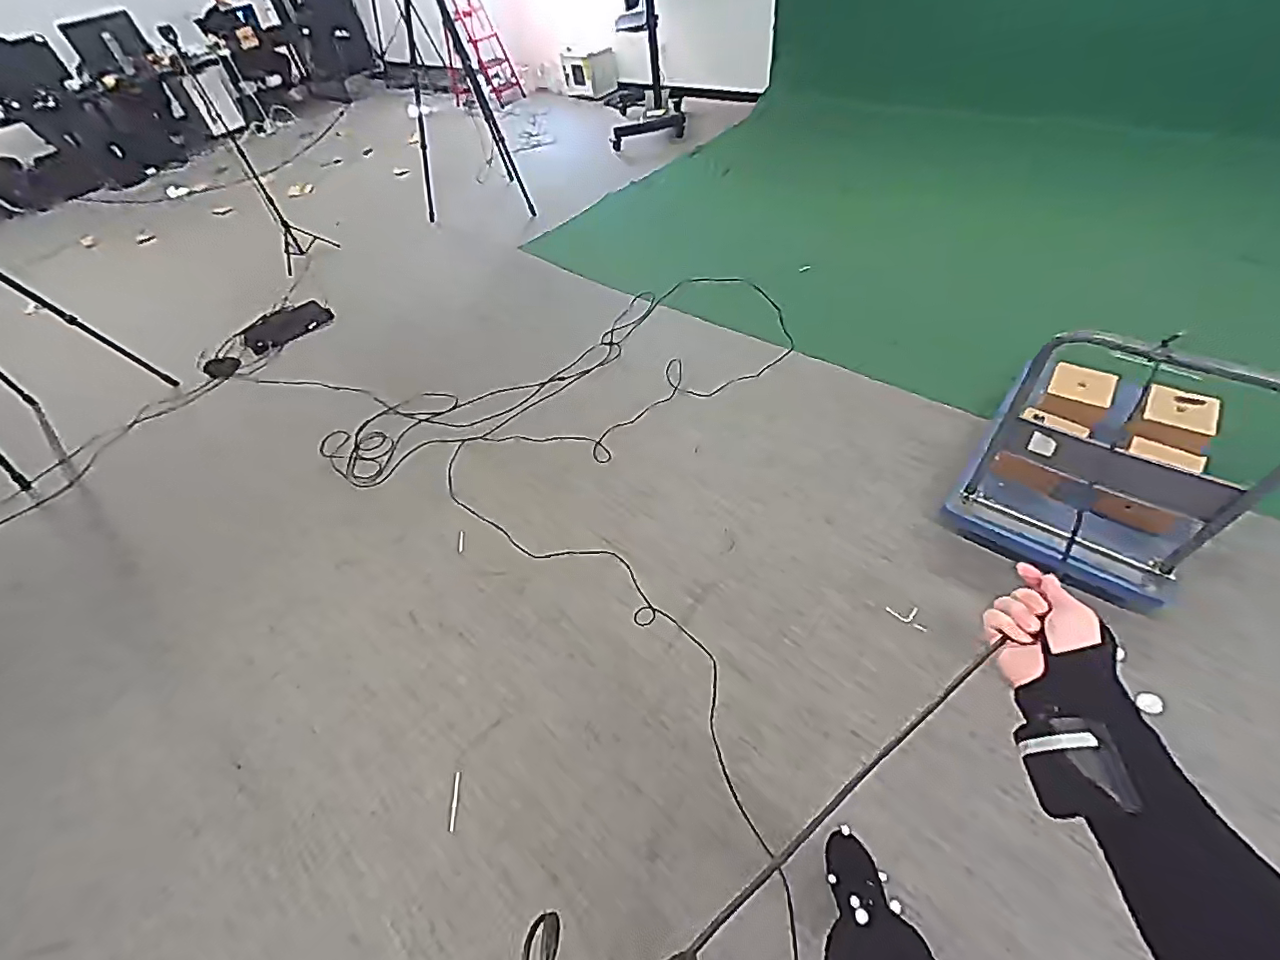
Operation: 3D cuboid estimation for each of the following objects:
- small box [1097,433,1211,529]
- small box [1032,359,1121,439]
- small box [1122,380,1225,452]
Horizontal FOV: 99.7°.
[{"bbox_3d":[1.456,0.003,1.542,0.168,0.176,0.179,30,61,30],"label":"small box"},{"bbox_3d":[1.426,-0.263,1.775,0.168,0.176,0.179,26,59,27],"label":"small box"},{"bbox_3d":[1.628,-0.170,1.658,0.168,0.176,0.179,25,59,29],"label":"small box"}]
